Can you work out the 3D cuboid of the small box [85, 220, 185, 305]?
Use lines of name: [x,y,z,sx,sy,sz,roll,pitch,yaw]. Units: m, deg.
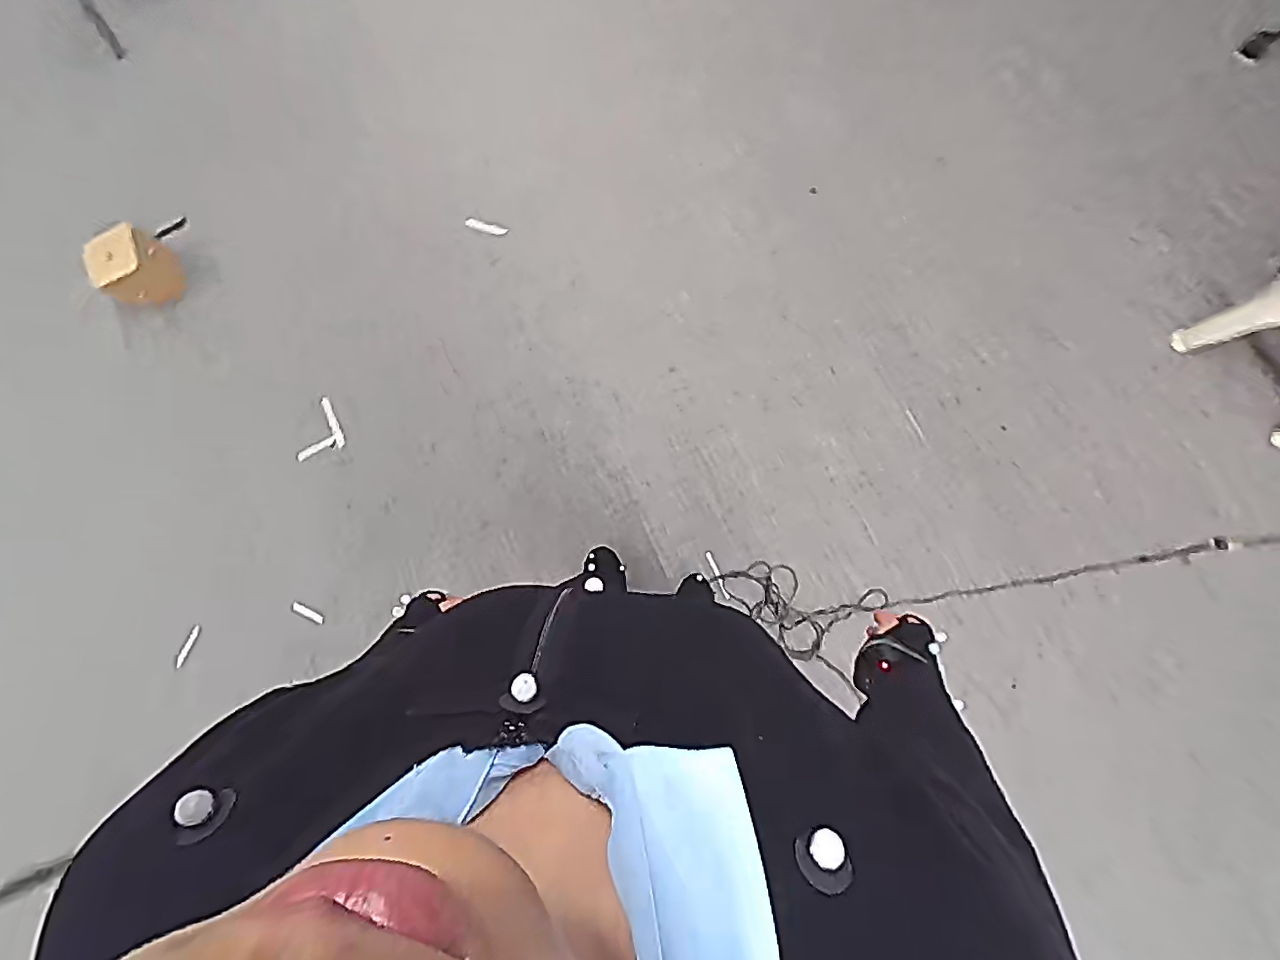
small box: [-1.646,-0.702,1.774,0.168,0.176,0.179,-23,79,2]
